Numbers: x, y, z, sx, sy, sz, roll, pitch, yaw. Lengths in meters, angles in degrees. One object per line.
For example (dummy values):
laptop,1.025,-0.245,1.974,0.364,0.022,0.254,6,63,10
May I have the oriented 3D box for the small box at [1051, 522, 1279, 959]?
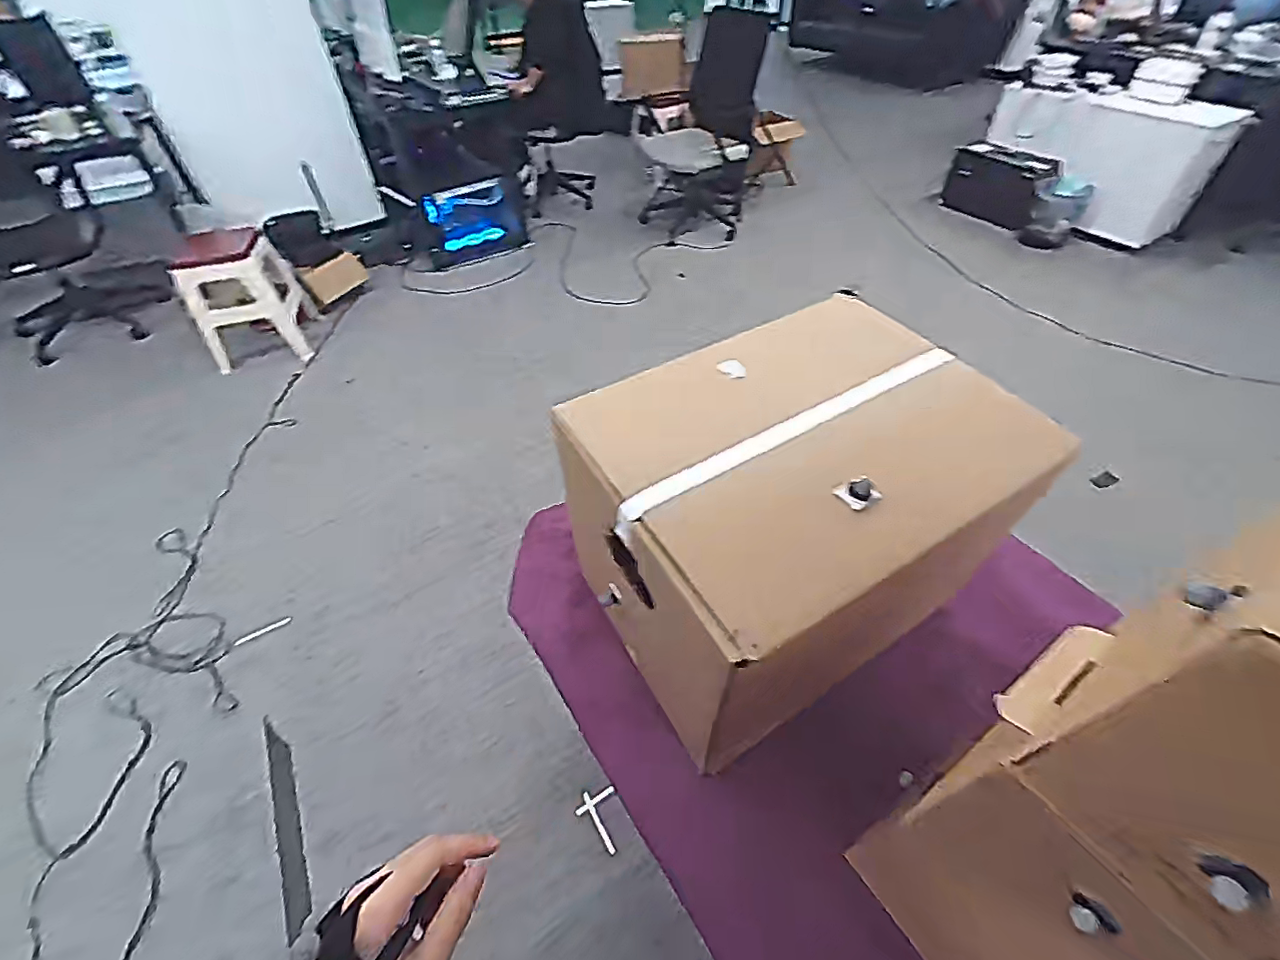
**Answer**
small box,0.321,0.109,0.218,0.179,0.176,0.168,-29,53,-22
